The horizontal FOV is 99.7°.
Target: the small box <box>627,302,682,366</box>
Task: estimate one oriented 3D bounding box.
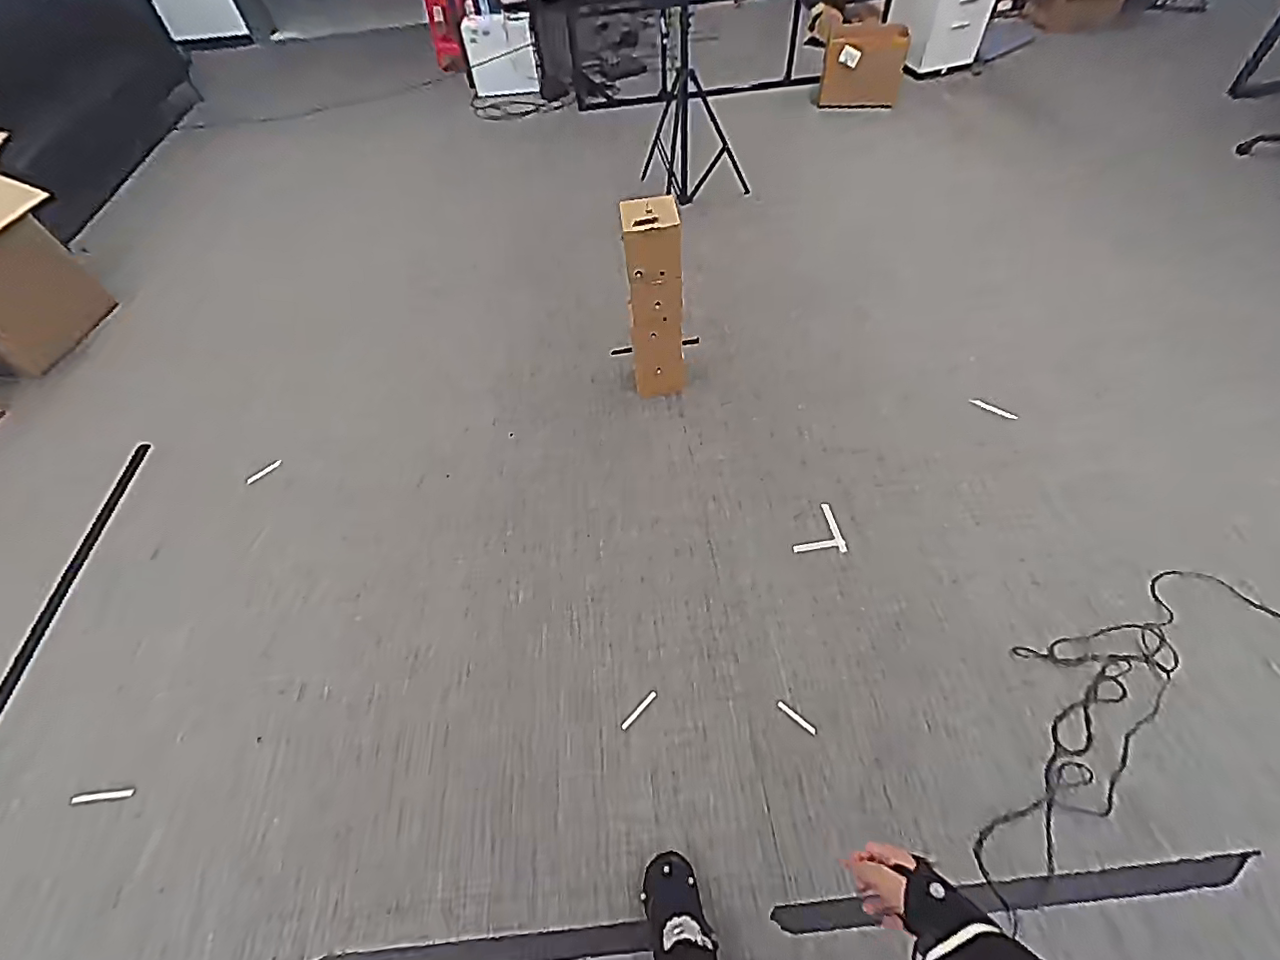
[{"bbox_3d":[0.052,-0.516,1.896,0.179,0.176,0.168,-5,55,1],"label":"small box"}]

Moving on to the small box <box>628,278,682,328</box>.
[{"bbox_3d":[0.048,-0.615,1.766,0.168,0.176,0.179,-6,55,1],"label":"small box"}]

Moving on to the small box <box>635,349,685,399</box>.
[{"bbox_3d":[0.070,-0.424,2.031,0.179,0.176,0.168,-7,54,0],"label":"small box"}]

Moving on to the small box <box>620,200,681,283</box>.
[{"bbox_3d":[0.033,-0.713,1.634,0.168,0.176,0.179,-7,53,1],"label":"small box"}]
